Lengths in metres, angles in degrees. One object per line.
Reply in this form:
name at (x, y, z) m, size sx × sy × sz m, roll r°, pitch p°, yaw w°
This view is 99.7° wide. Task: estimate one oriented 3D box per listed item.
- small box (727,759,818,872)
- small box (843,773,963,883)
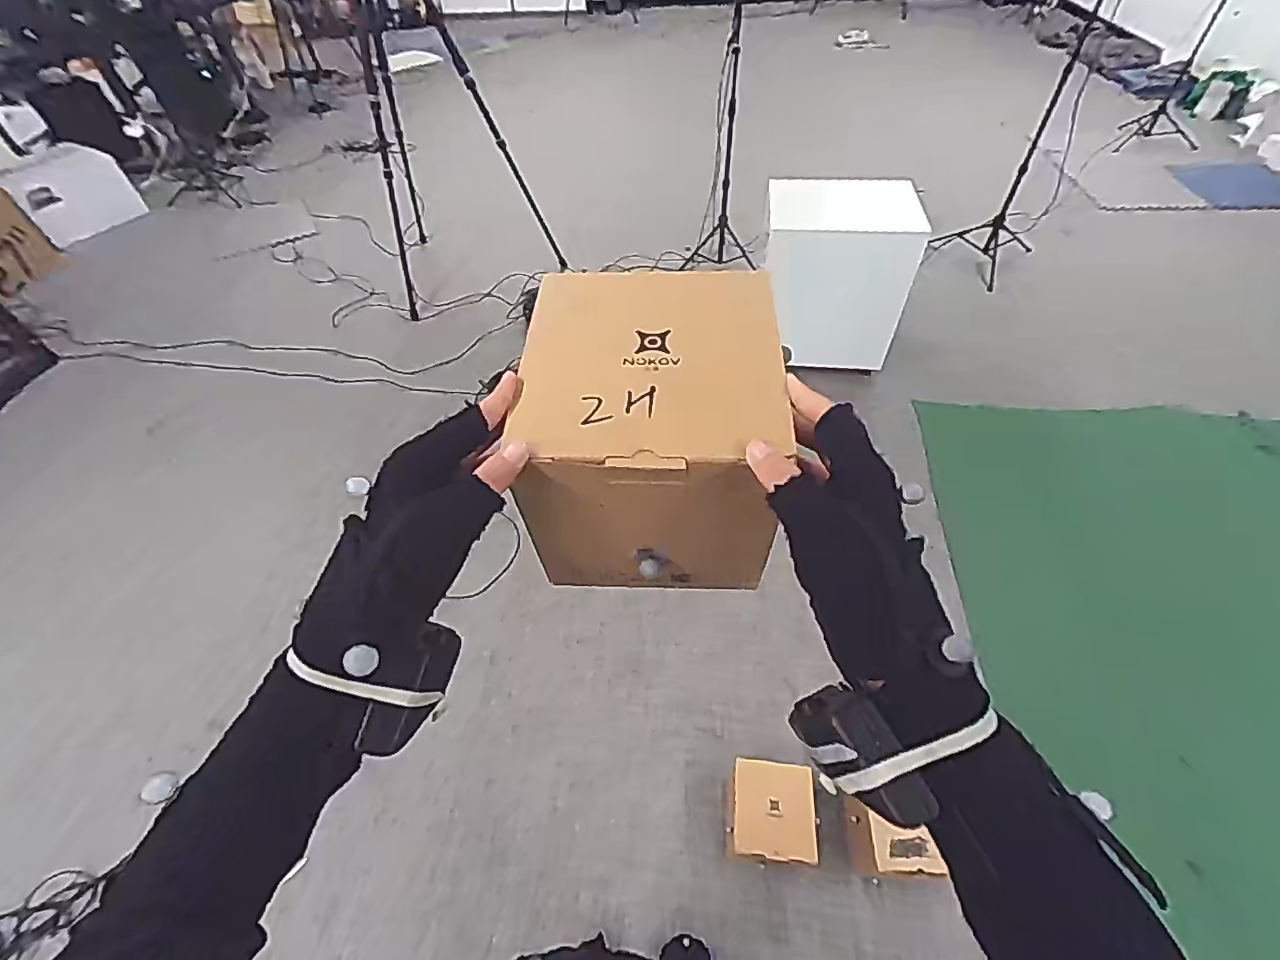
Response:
small box at (0.280, 0.730, 1.176) m, size 0.168 × 0.176 × 0.179 m, roll 4°, pitch 51°, yaw 6°
small box at (0.548, 0.743, 1.152) m, size 0.168 × 0.176 × 0.179 m, roll 1°, pitch 50°, yaw 4°
